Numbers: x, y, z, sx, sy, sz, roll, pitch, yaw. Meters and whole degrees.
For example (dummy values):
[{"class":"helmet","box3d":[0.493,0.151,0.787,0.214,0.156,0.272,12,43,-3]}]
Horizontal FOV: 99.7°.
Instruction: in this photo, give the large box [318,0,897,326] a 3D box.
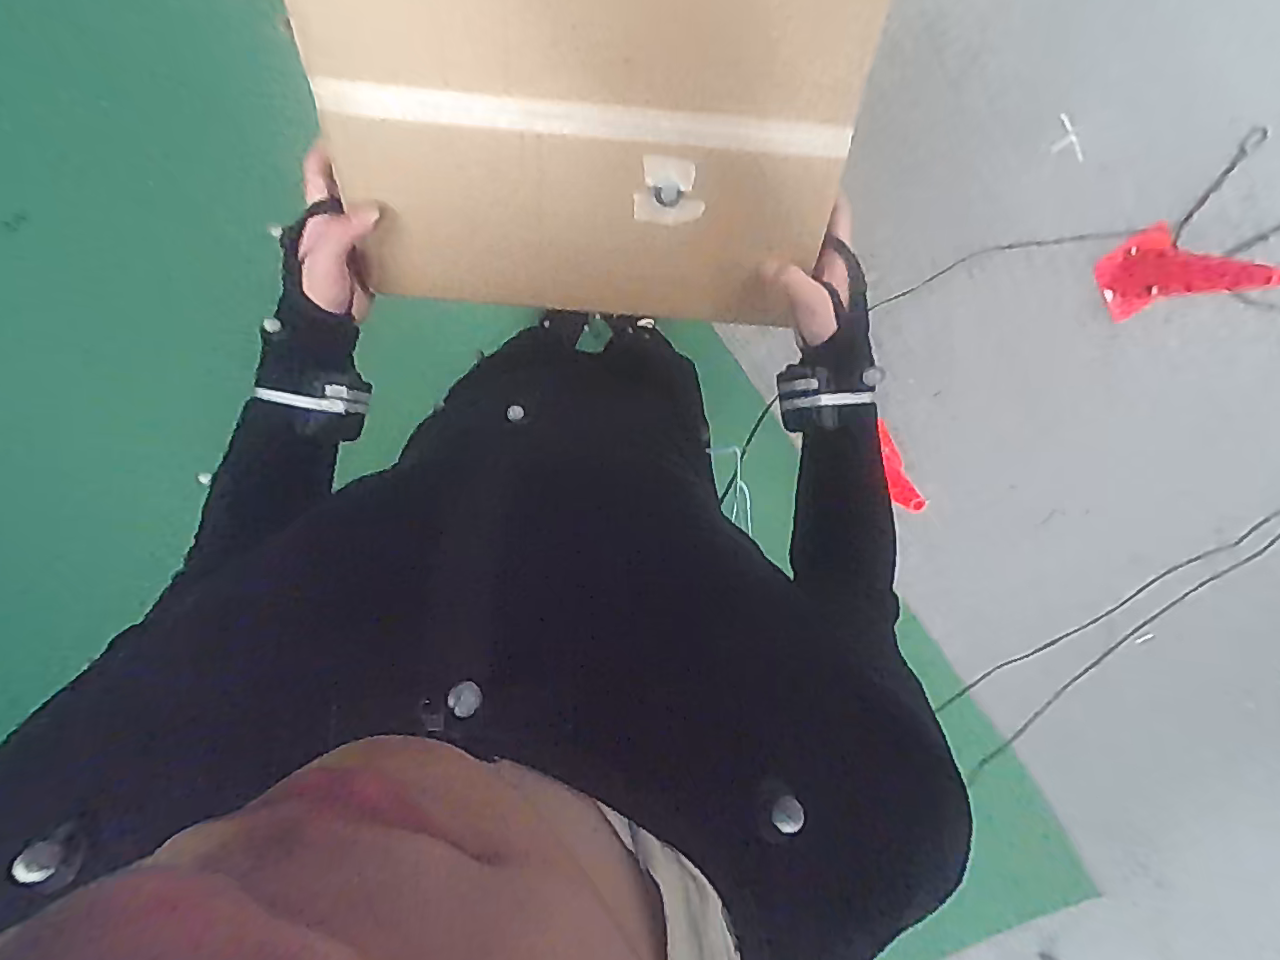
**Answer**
[{"class":"large box","box3d":[-0.030,-0.373,0.530,0.408,0.320,0.320,4,133,-3]}]

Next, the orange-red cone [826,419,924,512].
[{"class":"orange-red cone","box3d":[0.703,-0.004,1.534,0.198,0.360,0.199,-29,112,11]}]
